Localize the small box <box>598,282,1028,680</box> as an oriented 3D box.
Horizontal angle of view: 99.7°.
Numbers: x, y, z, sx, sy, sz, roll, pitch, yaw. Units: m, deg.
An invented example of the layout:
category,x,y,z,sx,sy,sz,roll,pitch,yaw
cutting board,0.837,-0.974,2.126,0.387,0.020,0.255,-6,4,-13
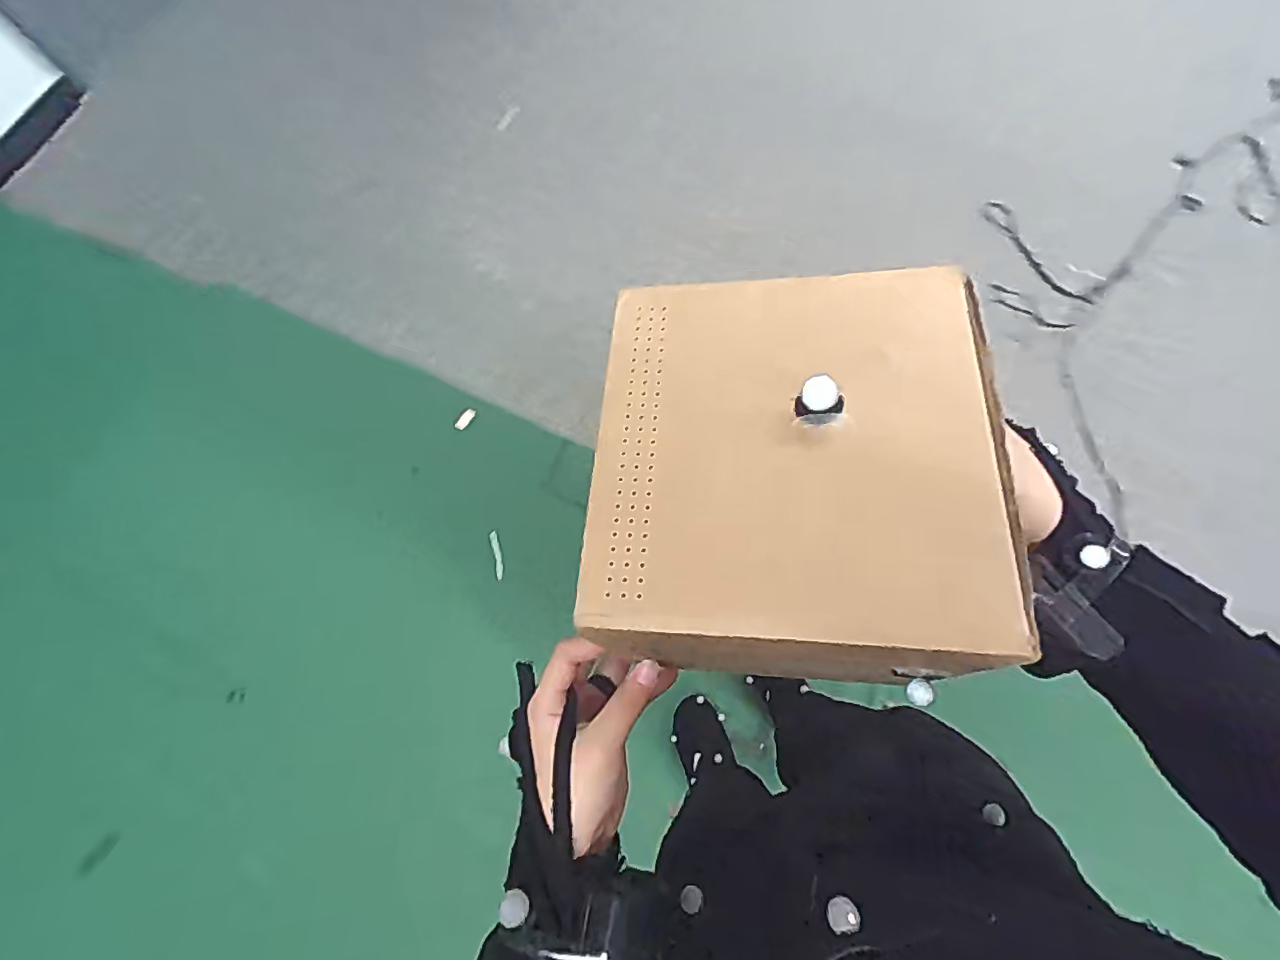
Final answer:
category,x,y,z,sx,sy,sz,roll,pitch,yaw
small box,0.078,0.012,0.314,0.176,0.168,0.179,0,66,12
